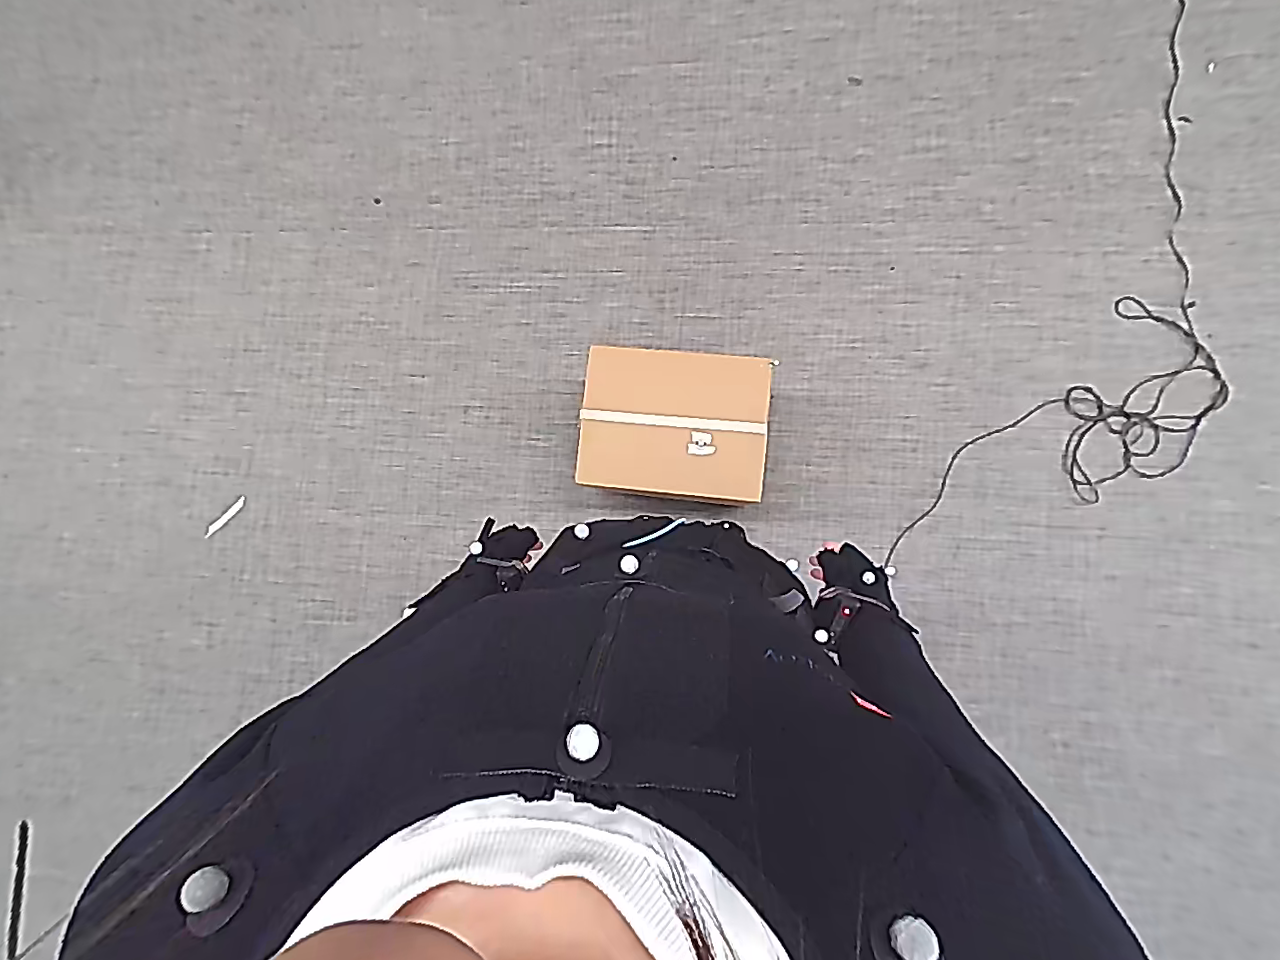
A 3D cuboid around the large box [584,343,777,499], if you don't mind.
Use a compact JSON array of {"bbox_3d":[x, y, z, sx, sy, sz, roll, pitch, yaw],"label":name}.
[{"bbox_3d":[0.099,-0.127,1.322,0.408,0.320,0.320,6,87,6],"label":"large box"}]
